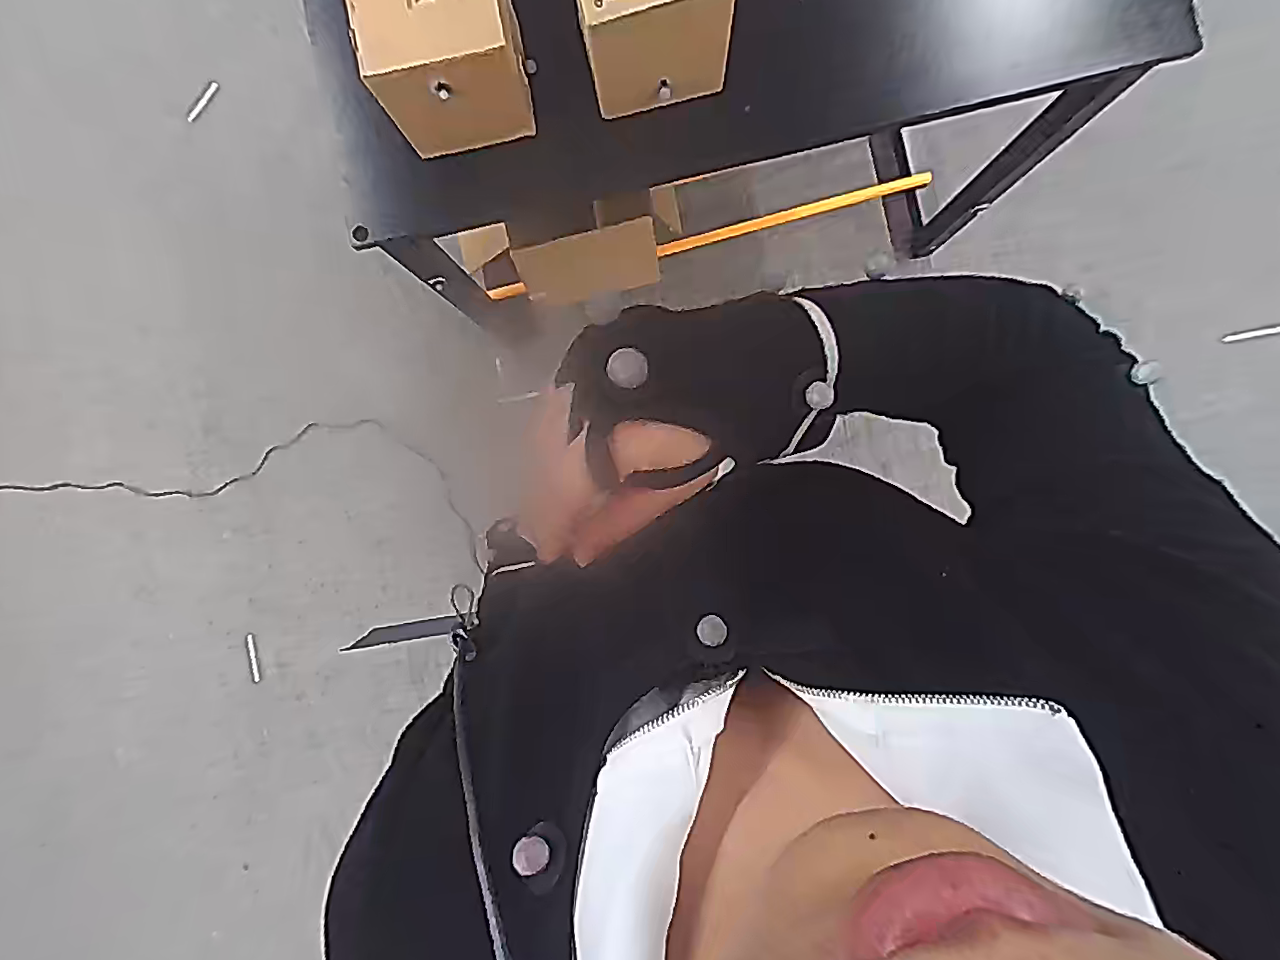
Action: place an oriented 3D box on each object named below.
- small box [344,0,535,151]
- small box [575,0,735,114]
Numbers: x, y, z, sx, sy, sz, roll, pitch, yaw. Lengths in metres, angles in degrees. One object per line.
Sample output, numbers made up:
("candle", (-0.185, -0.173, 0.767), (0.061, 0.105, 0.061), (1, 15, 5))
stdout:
("small box", (-0.250, -0.558, 0.693), (0.179, 0.176, 0.168), (-11, 91, 2))
("small box", (0.009, -0.608, 0.681), (0.179, 0.176, 0.168), (-13, 90, 2))
